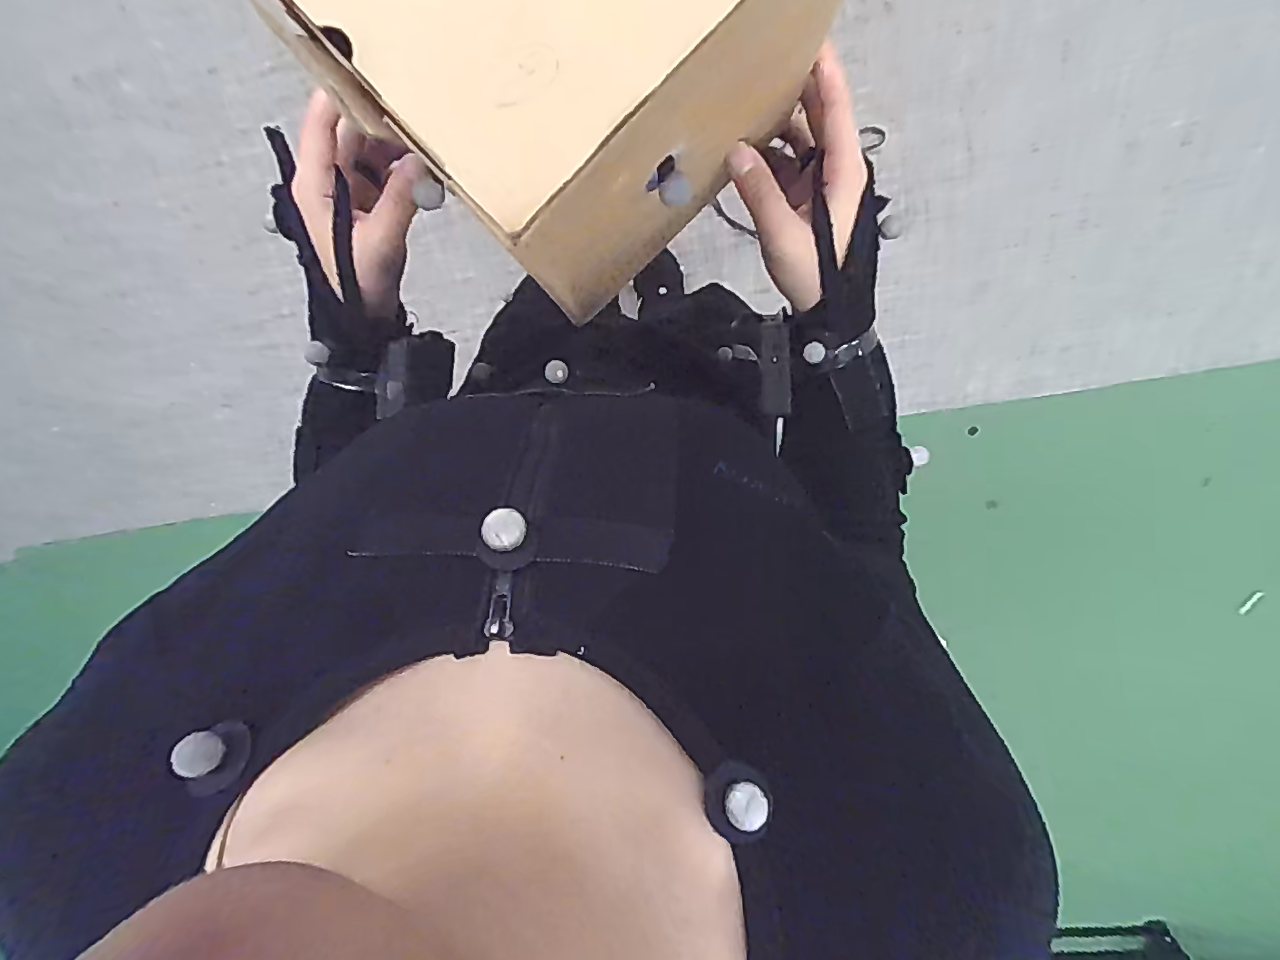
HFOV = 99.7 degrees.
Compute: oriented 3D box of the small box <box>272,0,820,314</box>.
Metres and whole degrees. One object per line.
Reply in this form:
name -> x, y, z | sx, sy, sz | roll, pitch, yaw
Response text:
small box -> -0.031, -0.207, 0.260 | 0.179, 0.176, 0.168 | -43, 93, 6
